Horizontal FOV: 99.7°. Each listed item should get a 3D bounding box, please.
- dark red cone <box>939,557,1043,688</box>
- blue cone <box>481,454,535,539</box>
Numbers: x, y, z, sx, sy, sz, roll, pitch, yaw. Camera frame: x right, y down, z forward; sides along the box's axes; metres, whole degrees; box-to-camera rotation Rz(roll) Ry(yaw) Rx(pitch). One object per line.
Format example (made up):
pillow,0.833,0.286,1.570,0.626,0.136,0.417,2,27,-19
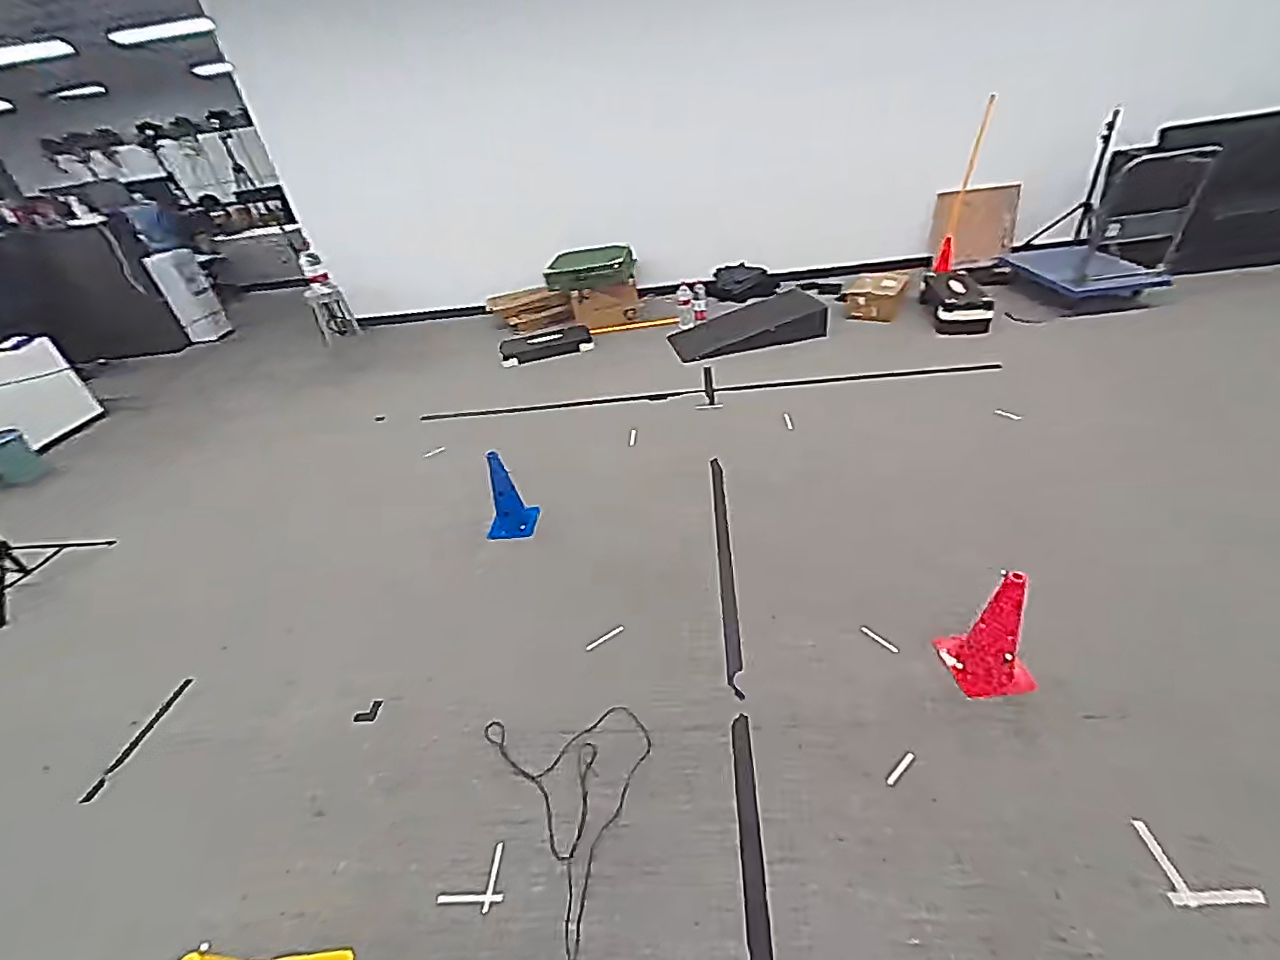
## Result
dark red cone,0.955,0.355,1.427,0.201,0.394,0.202,-9,35,1
blue cone,-0.576,0.054,2.241,0.192,0.380,0.193,-5,35,8
